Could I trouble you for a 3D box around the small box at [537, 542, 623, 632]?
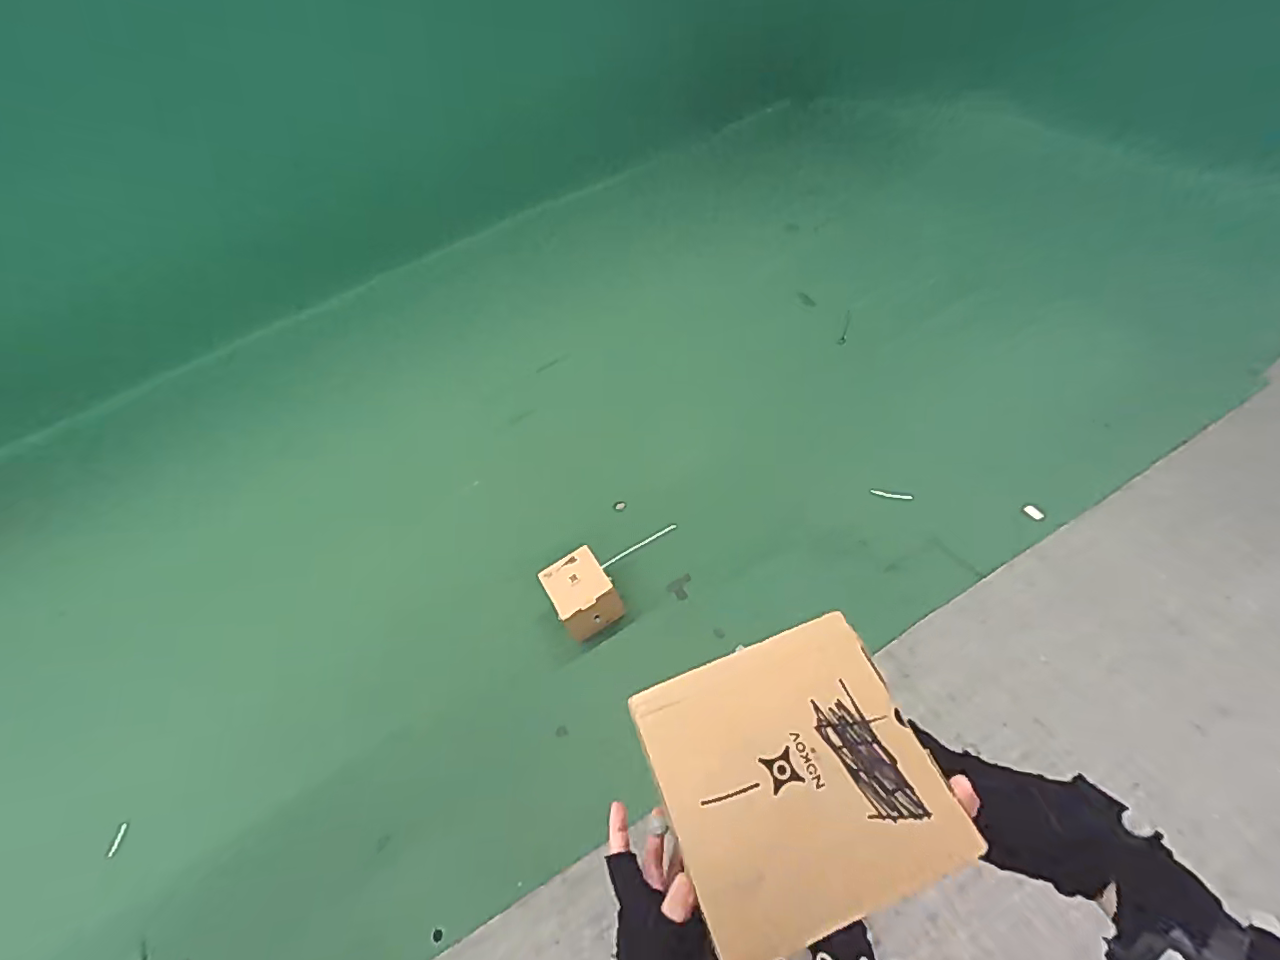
[{"bbox_3d":[-0.169,0.318,1.569,0.168,0.176,0.179,-31,54,-10],"label":"small box"}]
